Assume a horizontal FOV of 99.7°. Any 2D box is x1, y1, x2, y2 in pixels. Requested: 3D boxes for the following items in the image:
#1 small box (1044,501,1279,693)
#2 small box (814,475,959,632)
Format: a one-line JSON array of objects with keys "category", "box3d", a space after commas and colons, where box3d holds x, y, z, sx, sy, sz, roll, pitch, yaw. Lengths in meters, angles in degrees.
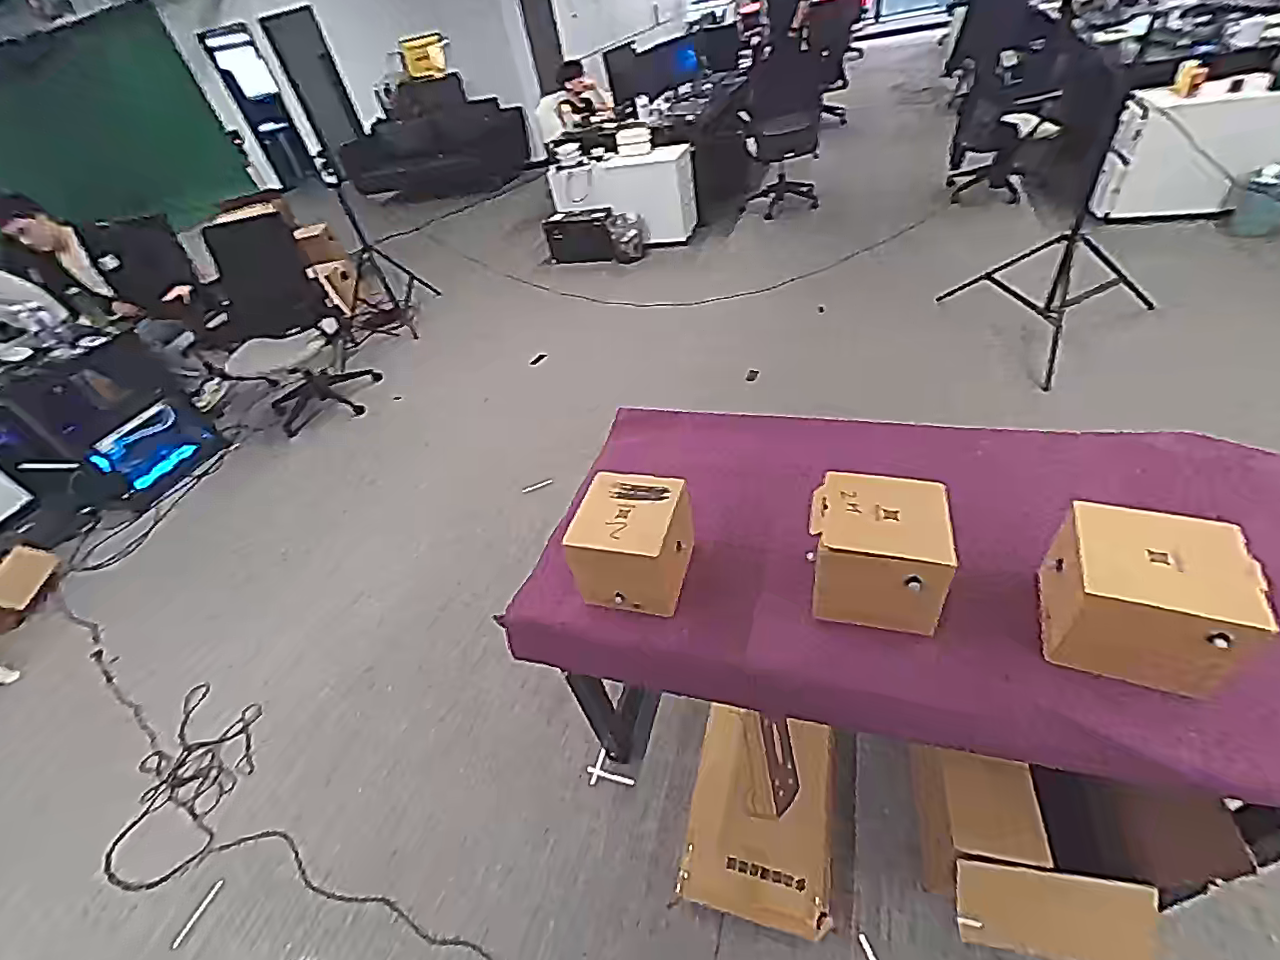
[{"category": "small box", "box3d": [0.665, 0.155, 0.721, 0.179, 0.176, 0.168, 10, 47, 24]}, {"category": "small box", "box3d": [0.372, 0.114, 0.840, 0.179, 0.176, 0.168, 4, 42, 19]}]
